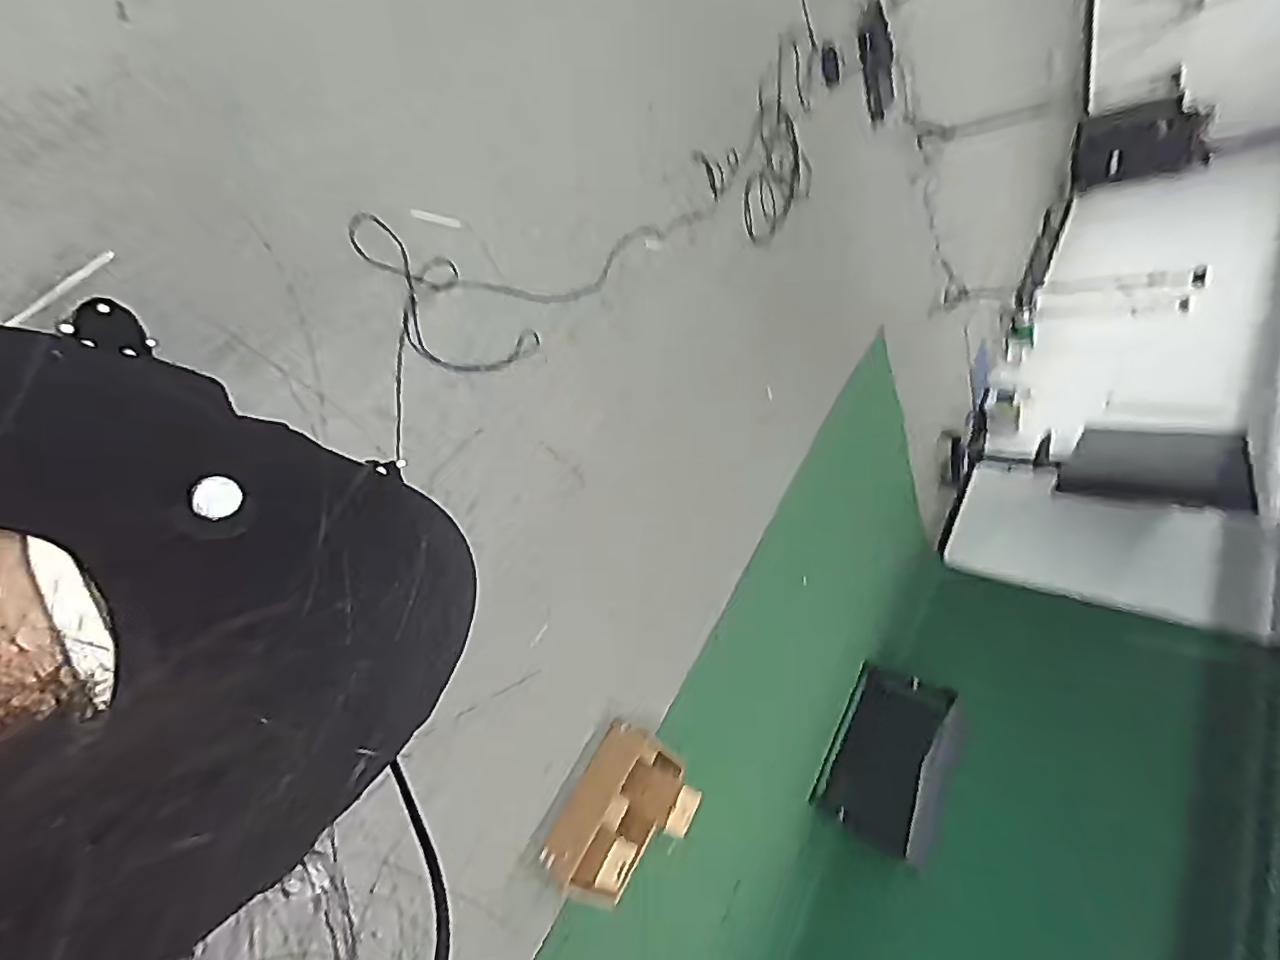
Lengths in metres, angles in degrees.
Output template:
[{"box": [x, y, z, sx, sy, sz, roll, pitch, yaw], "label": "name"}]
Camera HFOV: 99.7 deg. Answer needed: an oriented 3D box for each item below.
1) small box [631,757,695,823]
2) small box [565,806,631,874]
[{"box": [0.093, 1.280, 2.242, 0.168, 0.176, 0.179, -58, 133, -20], "label": "small box"}, {"box": [-0.174, 1.496, 2.251, 0.168, 0.176, 0.179, -57, 132, -21], "label": "small box"}]
